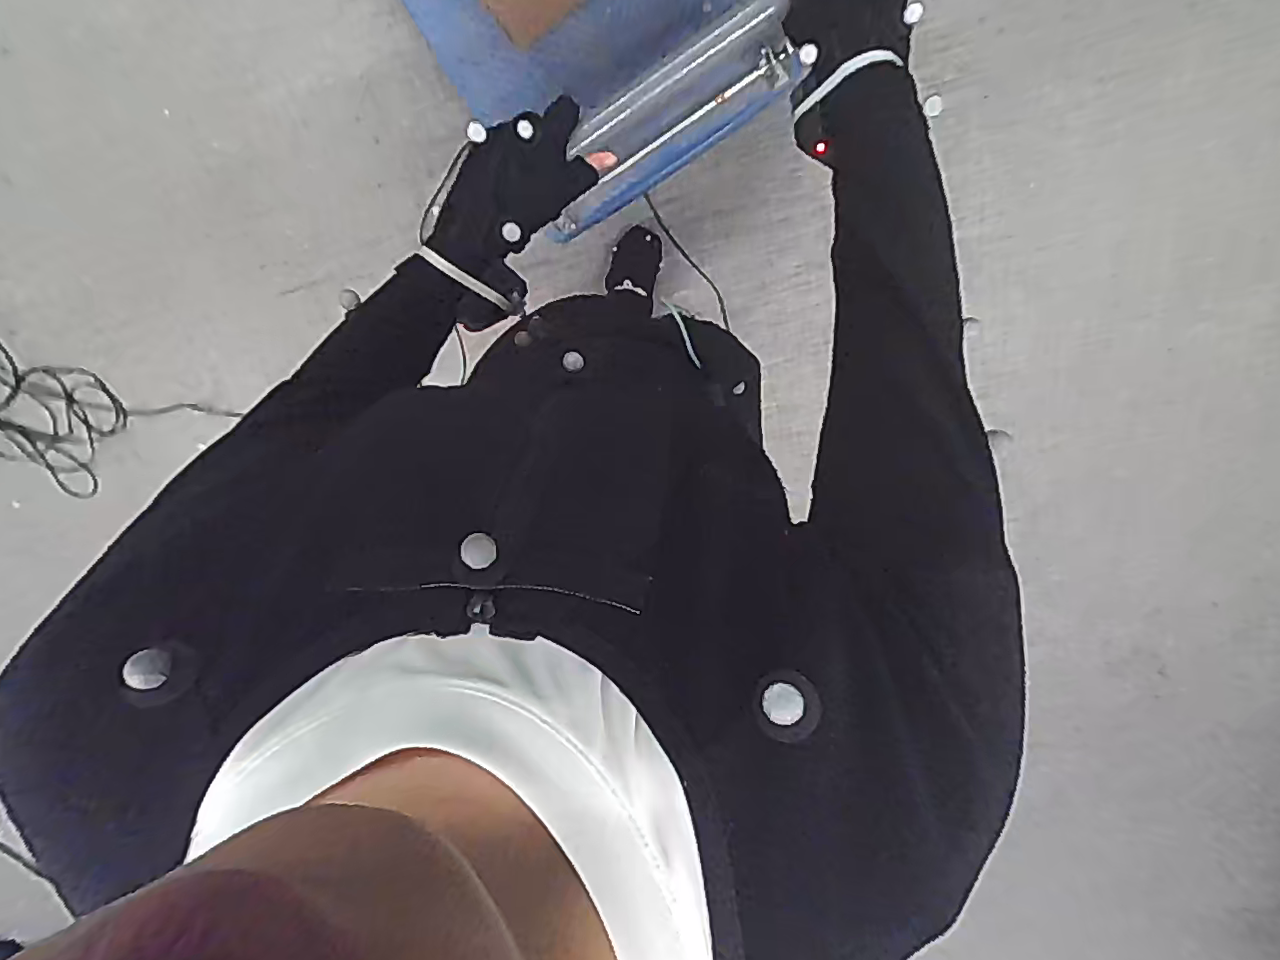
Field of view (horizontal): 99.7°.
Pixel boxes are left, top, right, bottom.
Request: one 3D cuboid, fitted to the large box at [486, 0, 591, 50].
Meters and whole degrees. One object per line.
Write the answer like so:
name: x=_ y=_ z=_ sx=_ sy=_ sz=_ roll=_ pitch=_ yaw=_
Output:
large box: x=-0.132 y=-0.959 z=0.790 sx=0.408 sy=0.320 sz=0.320 roll=-29 pitch=108 yaw=16
